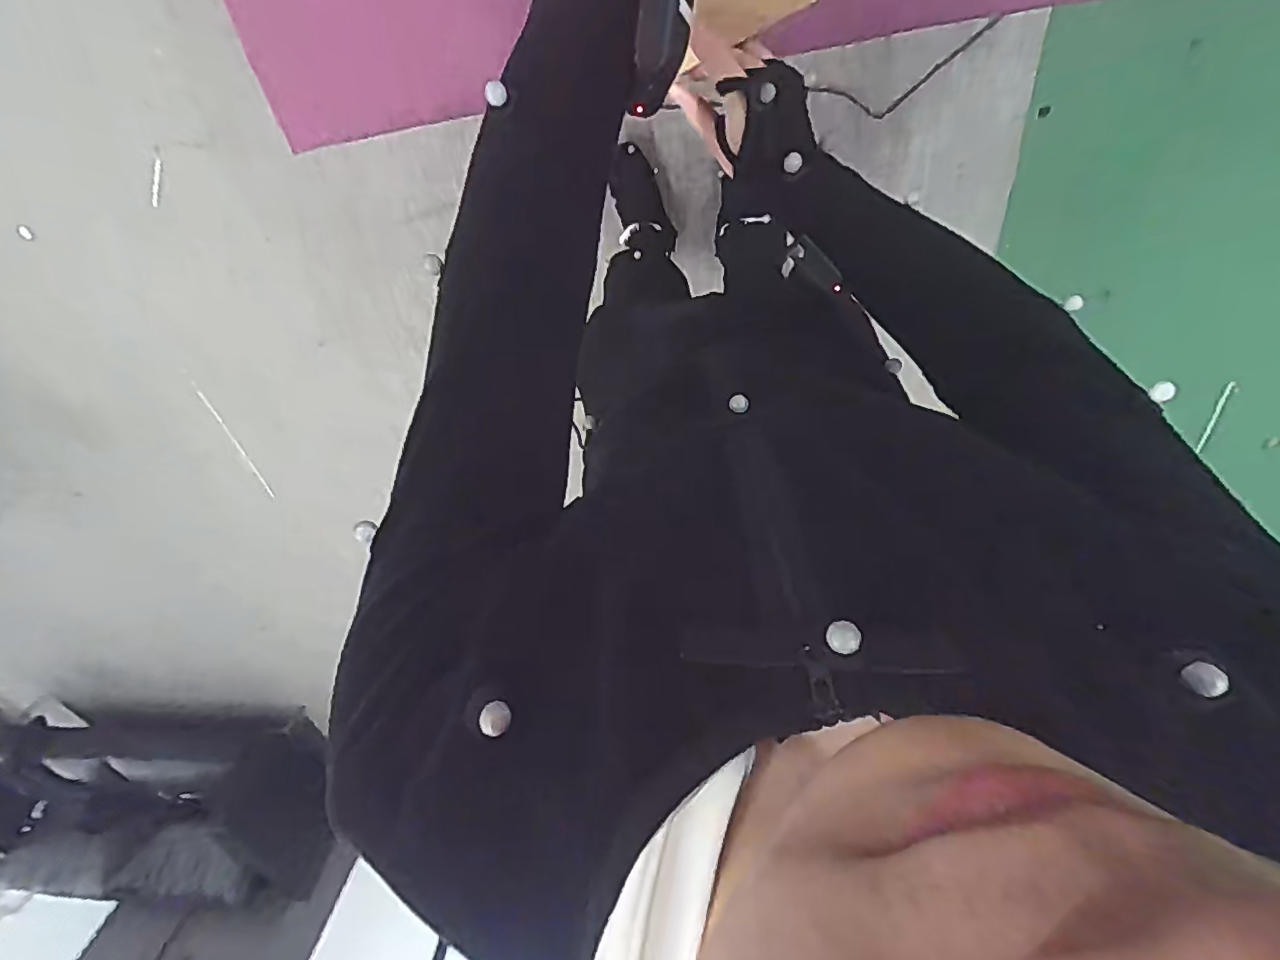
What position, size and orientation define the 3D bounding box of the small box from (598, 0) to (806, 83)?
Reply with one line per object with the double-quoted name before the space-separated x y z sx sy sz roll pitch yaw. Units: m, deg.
"small box" 0.049 -0.486 0.454 0.168 0.176 0.179 -4 137 30
